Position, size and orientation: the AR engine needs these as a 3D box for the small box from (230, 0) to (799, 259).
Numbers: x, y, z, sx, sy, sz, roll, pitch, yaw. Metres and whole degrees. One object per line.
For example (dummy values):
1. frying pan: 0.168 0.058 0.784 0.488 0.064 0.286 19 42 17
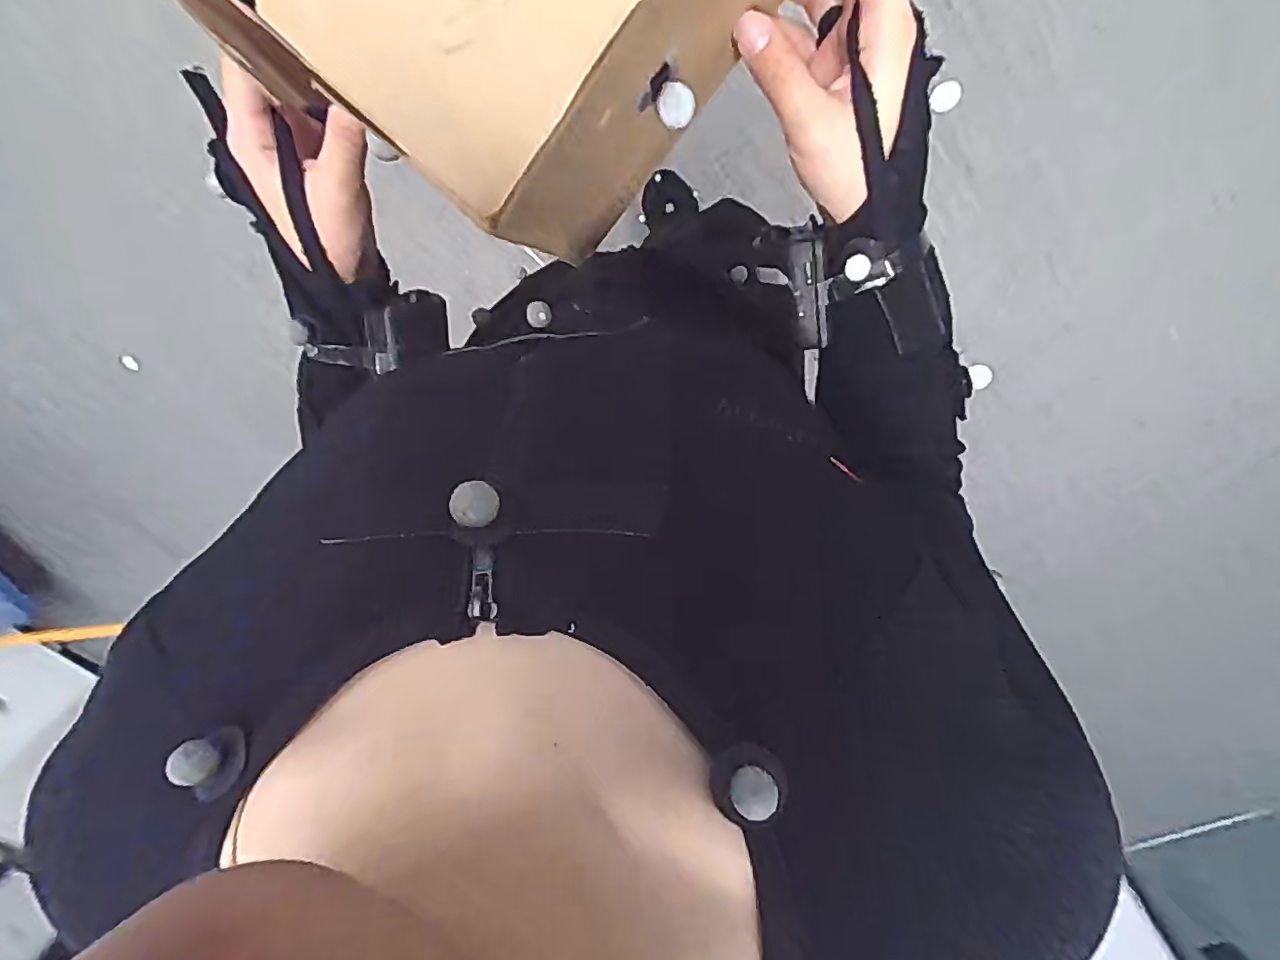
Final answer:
1. small box: -0.035 -0.208 0.207 0.168 0.176 0.179 39 107 -10
